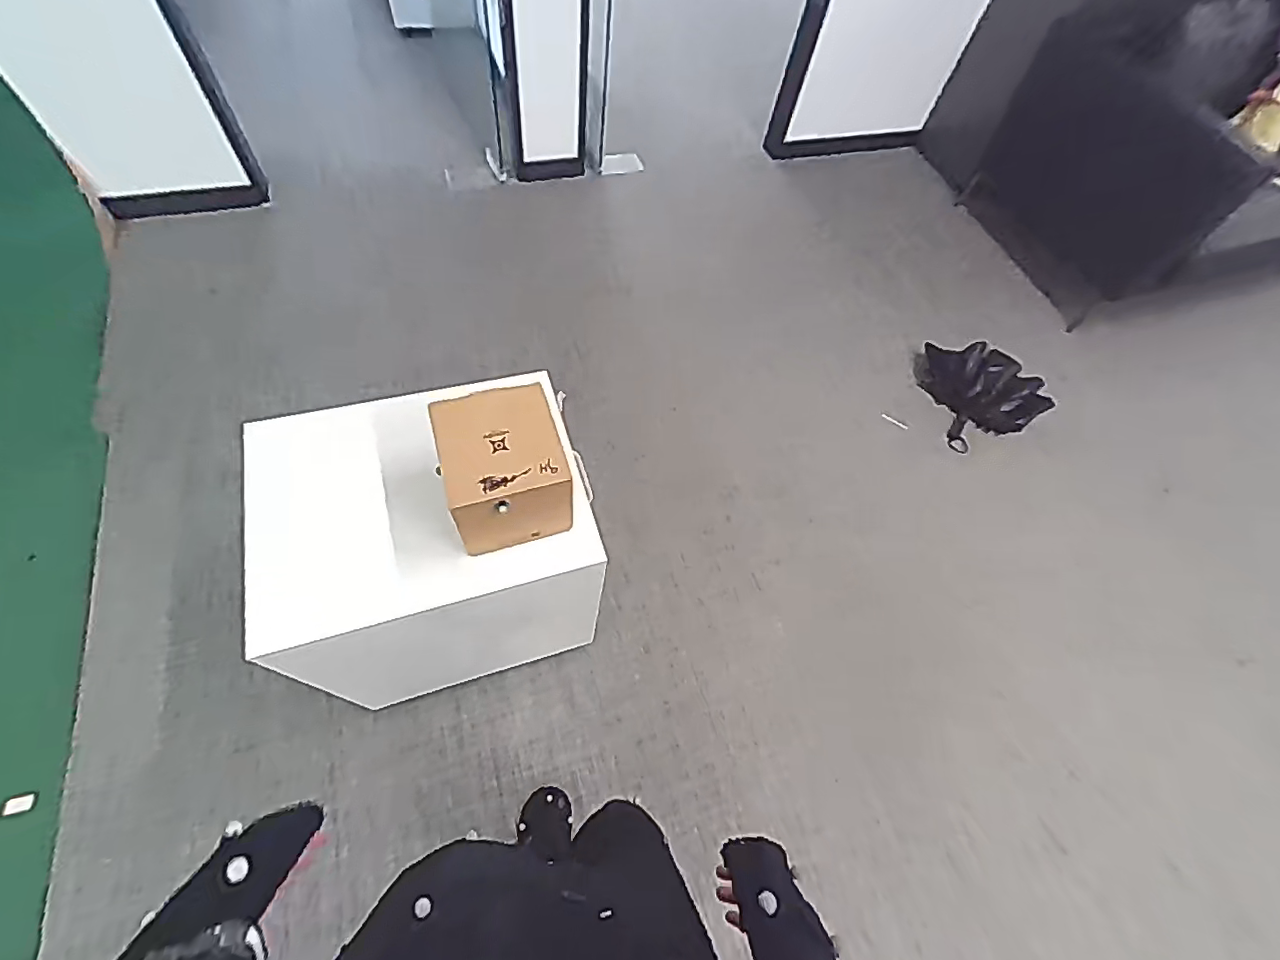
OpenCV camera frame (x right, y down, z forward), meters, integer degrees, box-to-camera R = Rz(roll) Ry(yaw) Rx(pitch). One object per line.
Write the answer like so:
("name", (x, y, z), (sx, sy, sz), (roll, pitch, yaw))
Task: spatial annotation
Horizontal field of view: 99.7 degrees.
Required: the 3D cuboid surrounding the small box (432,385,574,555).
("small box", (-0.202, -0.012, 0.817), (0.168, 0.176, 0.179), (-15, 63, -14))
